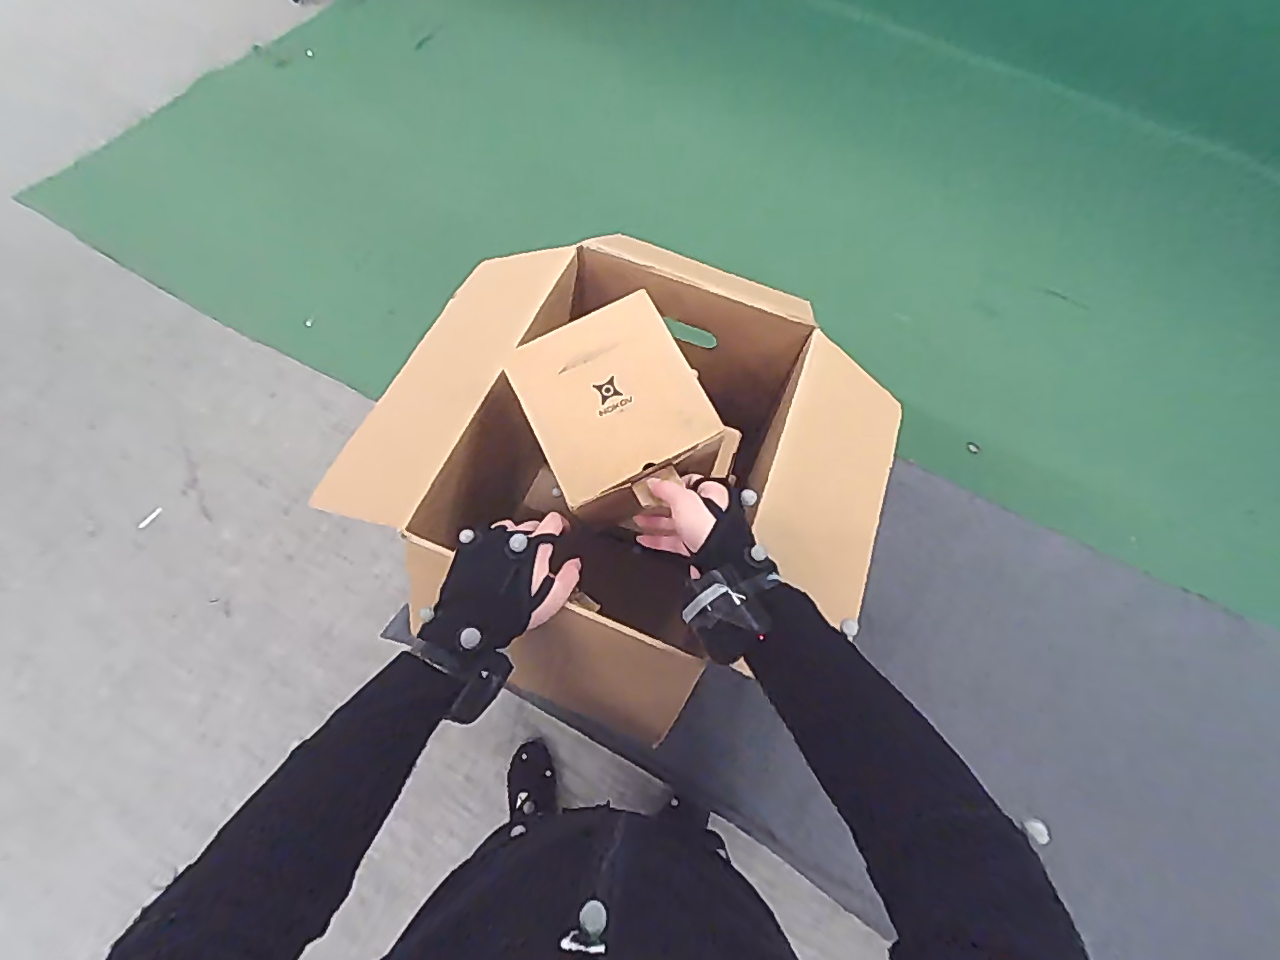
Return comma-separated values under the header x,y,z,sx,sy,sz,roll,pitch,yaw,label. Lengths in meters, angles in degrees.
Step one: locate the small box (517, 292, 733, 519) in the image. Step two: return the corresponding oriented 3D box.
x,y,z,sx,sy,sz,roll,pitch,yaw,label
-0.013,-0.067,0.610,0.168,0.176,0.179,-26,75,-5,small box
